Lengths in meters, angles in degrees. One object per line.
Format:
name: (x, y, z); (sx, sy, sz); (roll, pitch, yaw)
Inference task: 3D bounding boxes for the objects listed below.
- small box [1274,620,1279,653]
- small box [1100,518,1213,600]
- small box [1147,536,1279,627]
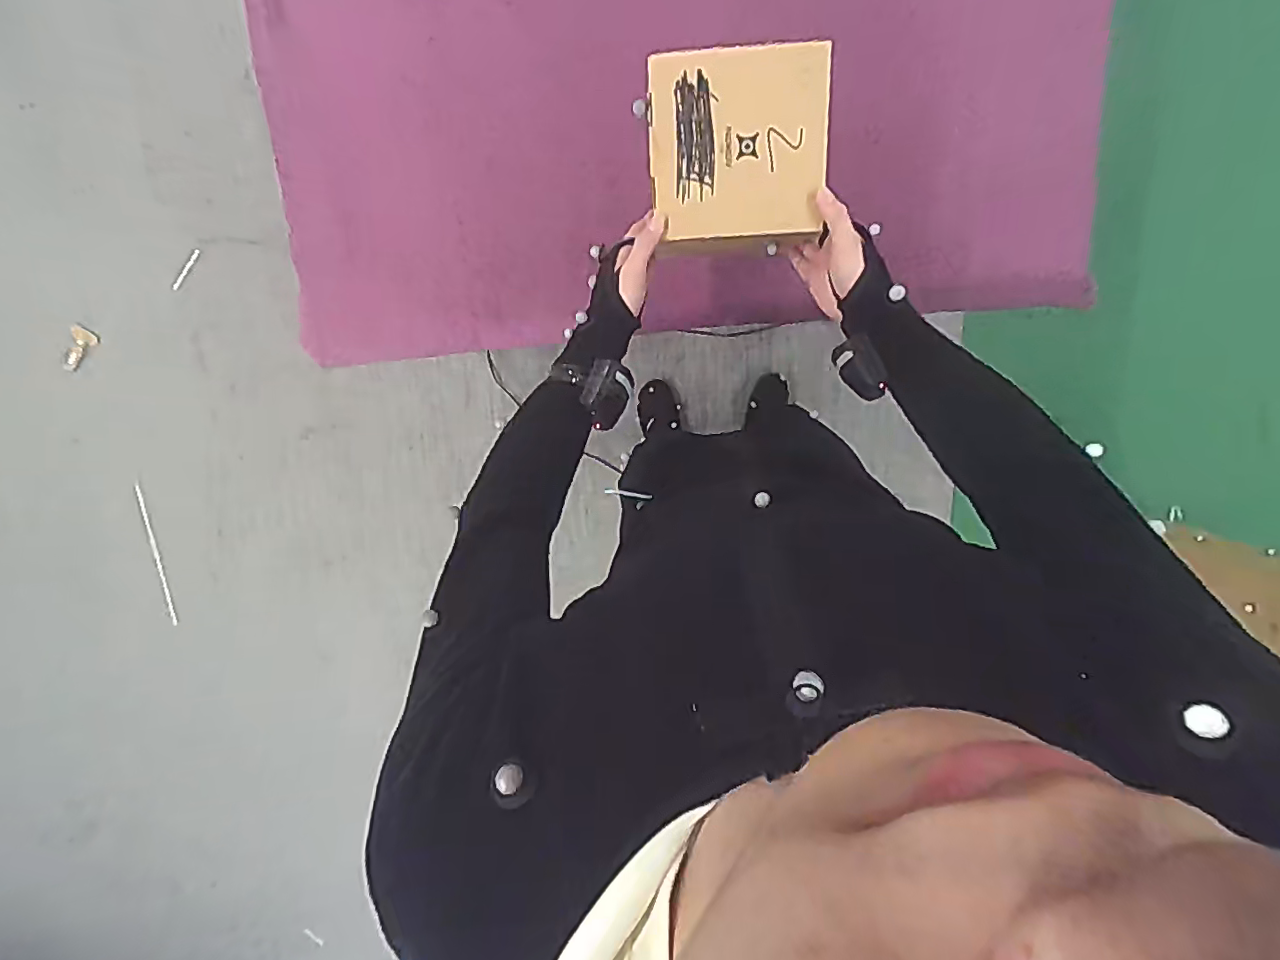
small box: (1.434, 0.302, 1.065); (0.179, 0.176, 0.168); (-3, 101, 4)
small box: (1.467, 0.223, 1.547); (0.168, 0.176, 0.179); (-7, 102, 3)
small box: (1.461, 0.256, 1.389); (0.168, 0.176, 0.179); (-5, 101, 3)
